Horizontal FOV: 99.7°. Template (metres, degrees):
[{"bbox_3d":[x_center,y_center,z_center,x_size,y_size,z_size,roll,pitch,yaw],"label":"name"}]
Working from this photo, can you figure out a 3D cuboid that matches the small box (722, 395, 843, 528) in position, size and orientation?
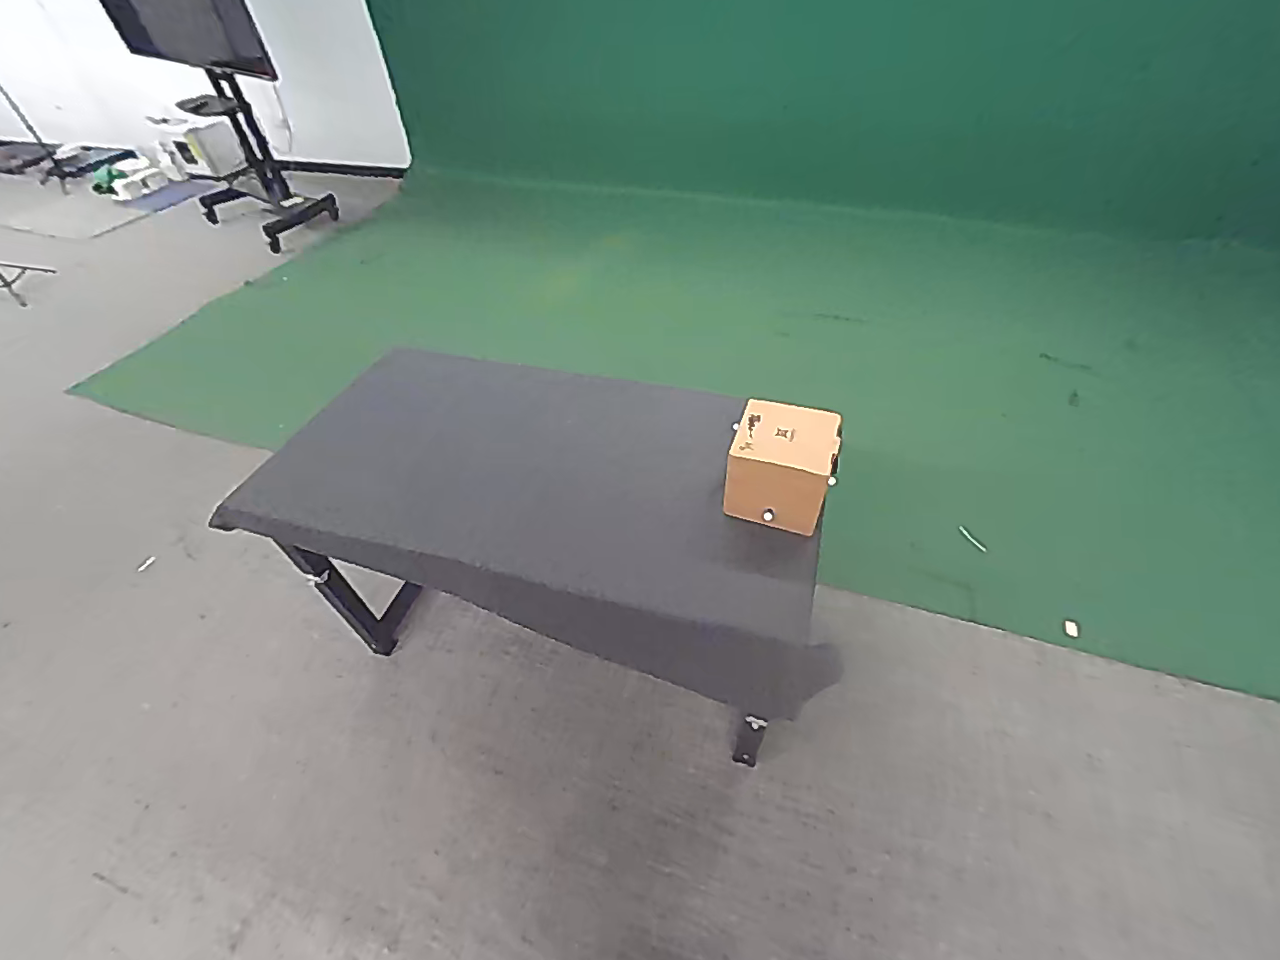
[{"bbox_3d":[0.267,-0.032,1.029,0.179,0.176,0.168,15,50,15],"label":"small box"}]
